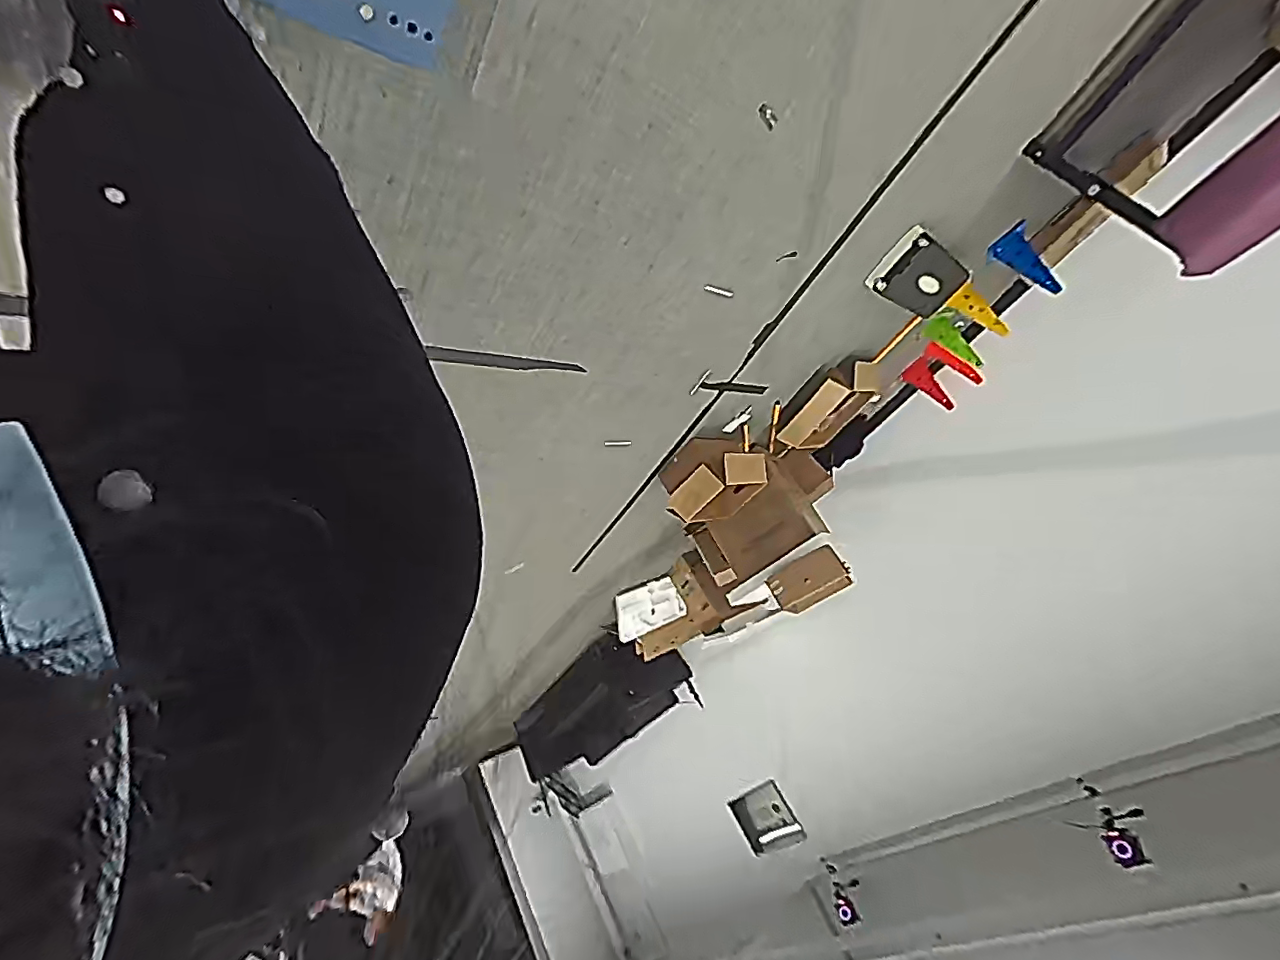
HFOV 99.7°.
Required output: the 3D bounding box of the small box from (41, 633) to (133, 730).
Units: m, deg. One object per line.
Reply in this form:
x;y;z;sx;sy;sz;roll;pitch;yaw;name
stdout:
-1.517;0.546;1.483;0.168;0.176;0.179;-3;142;-49;small box
